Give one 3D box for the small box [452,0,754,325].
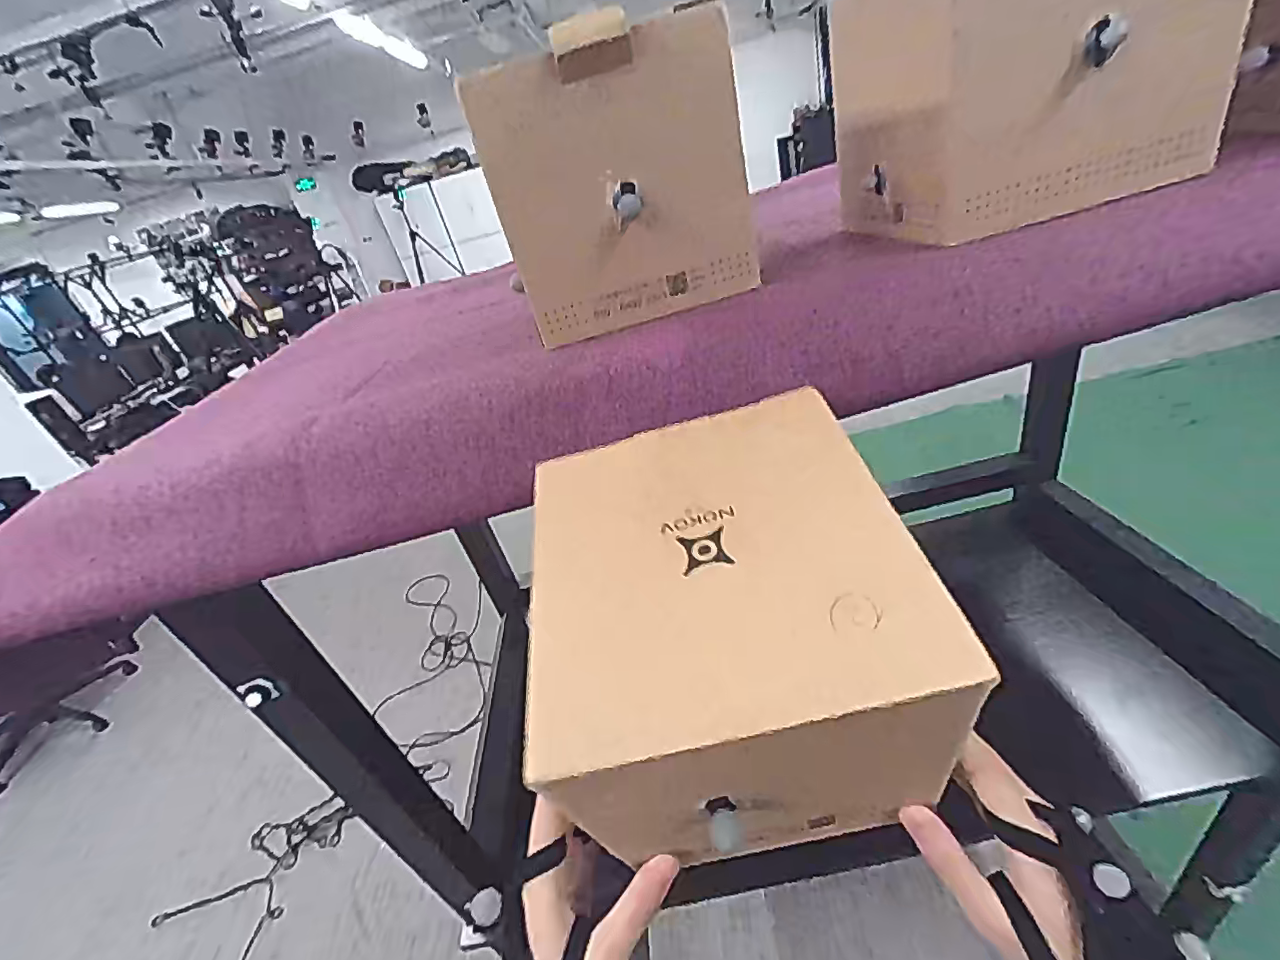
[{"bbox_3d":[-0.021,-0.233,0.418,0.168,0.176,0.179,-16,30,0],"label":"small box"}]
